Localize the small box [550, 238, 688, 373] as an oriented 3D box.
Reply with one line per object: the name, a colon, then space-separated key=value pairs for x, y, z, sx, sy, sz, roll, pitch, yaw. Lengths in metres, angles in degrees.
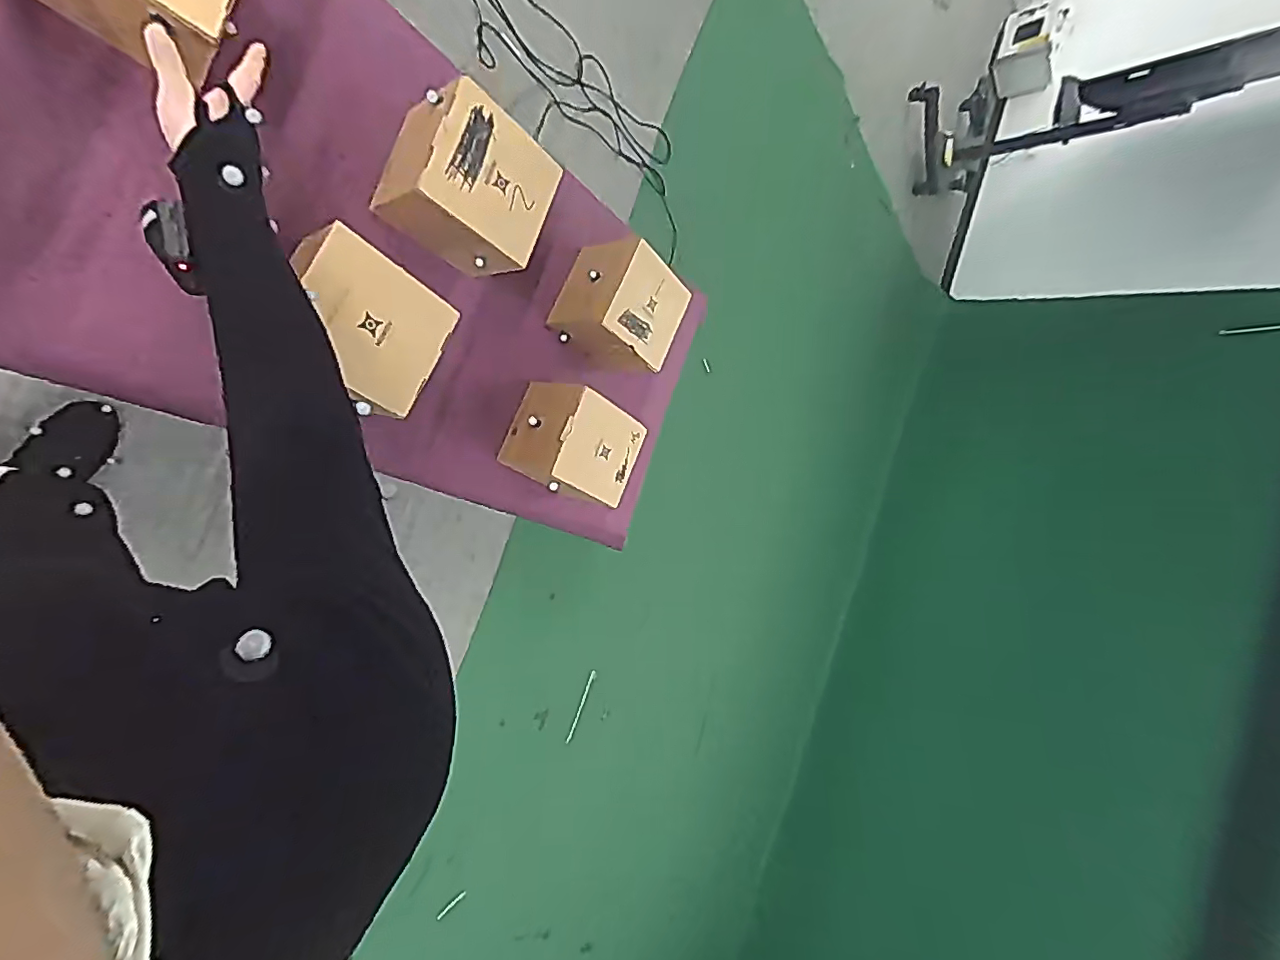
small box: x=-0.044 y=-0.321 z=1.024 sx=0.168 sy=0.176 sz=0.179 roll=33 pitch=76 yaw=-45

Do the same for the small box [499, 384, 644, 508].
small box: x=-0.130 y=-0.064 z=1.002 sx=0.179 sy=0.176 sz=0.168 roll=32 pitch=77 yaw=-44

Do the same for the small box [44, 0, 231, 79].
small box: x=-0.492 y=-0.530 z=0.508 sx=0.179 sy=0.176 sz=0.168 roll=19 pitch=87 yaw=-47

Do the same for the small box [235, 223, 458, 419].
small box: x=-0.382 y=-0.200 z=0.709 sx=0.179 sy=0.176 sz=0.168 roll=36 pitch=73 yaw=-44
